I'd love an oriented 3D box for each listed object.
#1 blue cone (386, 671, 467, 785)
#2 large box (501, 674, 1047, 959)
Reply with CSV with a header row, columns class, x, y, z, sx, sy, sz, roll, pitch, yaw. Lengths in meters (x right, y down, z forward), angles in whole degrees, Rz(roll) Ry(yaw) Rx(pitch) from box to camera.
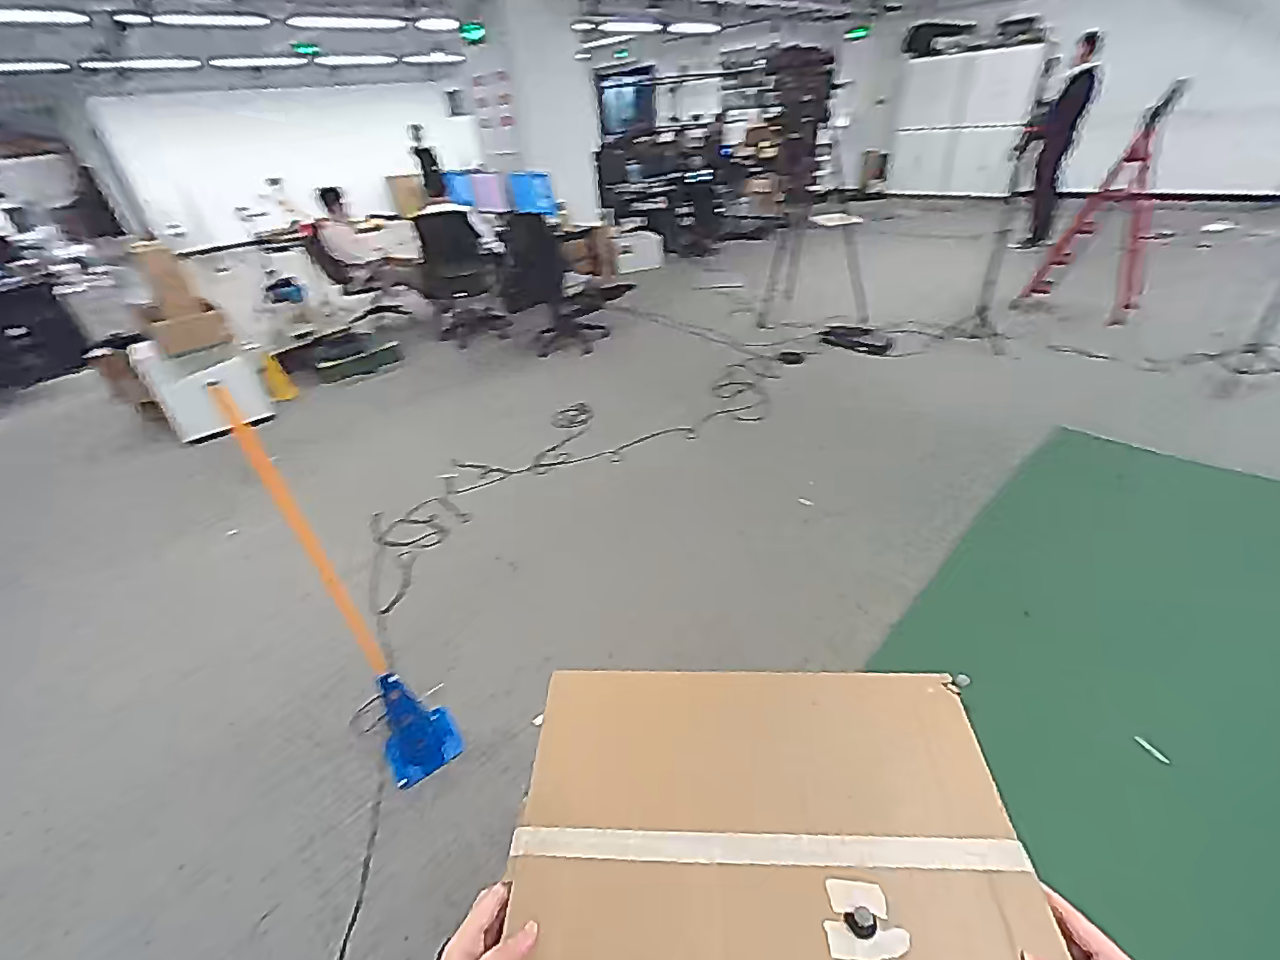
class,x,y,z,sx,sy,sz,roll,pitch,yaw
blue cone,-0.660,0.678,1.568,0.193,0.380,0.192,-25,39,-26
large box,0.101,0.417,0.542,0.408,0.320,0.320,-1,41,3
